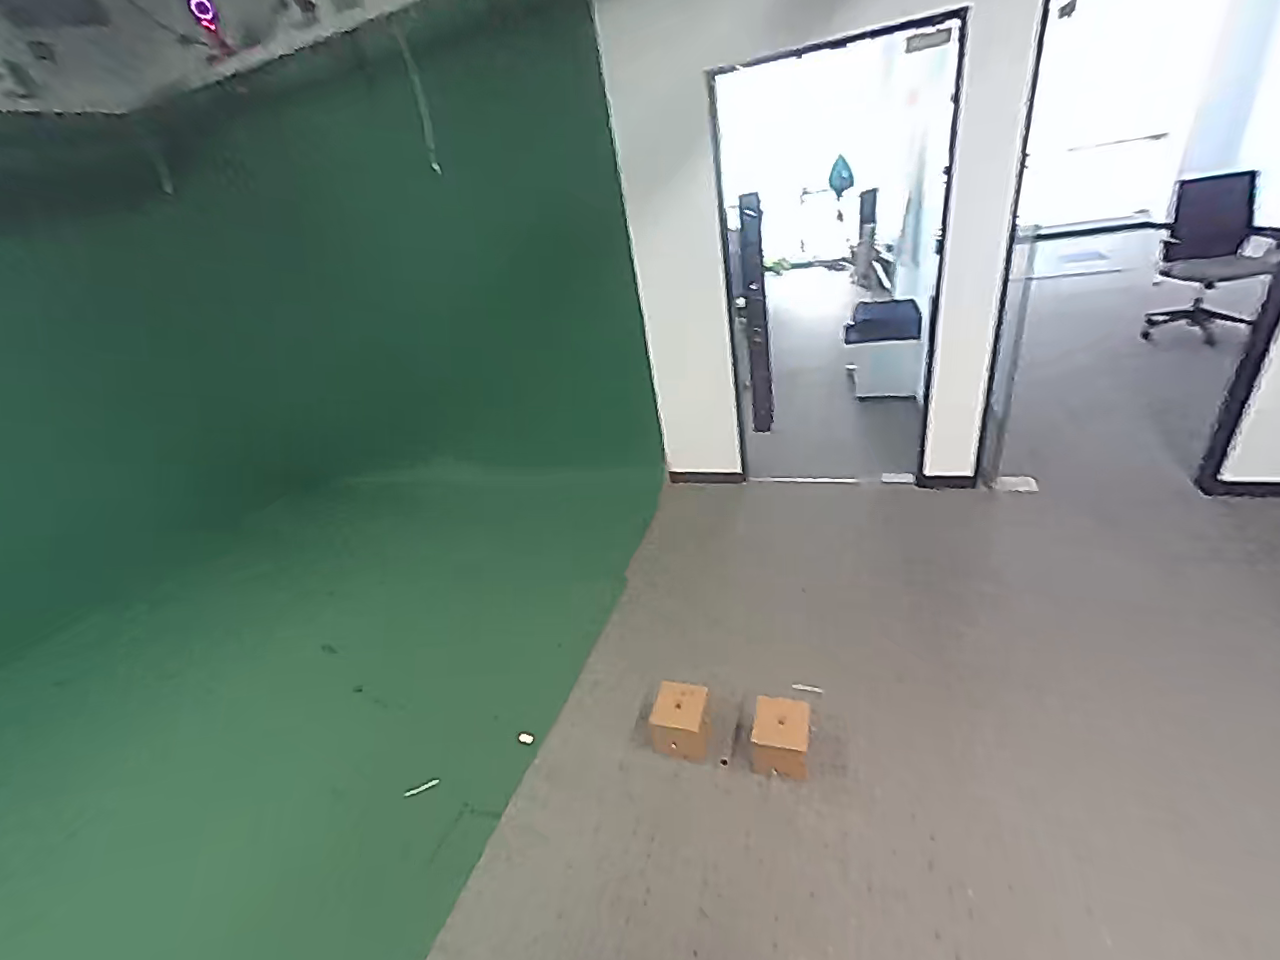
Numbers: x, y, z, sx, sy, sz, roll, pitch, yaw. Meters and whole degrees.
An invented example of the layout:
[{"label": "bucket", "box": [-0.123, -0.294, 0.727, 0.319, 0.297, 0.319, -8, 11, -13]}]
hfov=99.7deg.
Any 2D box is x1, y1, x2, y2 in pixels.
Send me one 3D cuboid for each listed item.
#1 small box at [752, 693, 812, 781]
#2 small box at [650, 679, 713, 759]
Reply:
[{"label": "small box", "box": [0.456, 0.813, 1.716, 0.168, 0.176, 0.179, 0, 31, 21]}, {"label": "small box", "box": [0.148, 0.809, 1.829, 0.168, 0.176, 0.179, 1, 31, 20]}]
